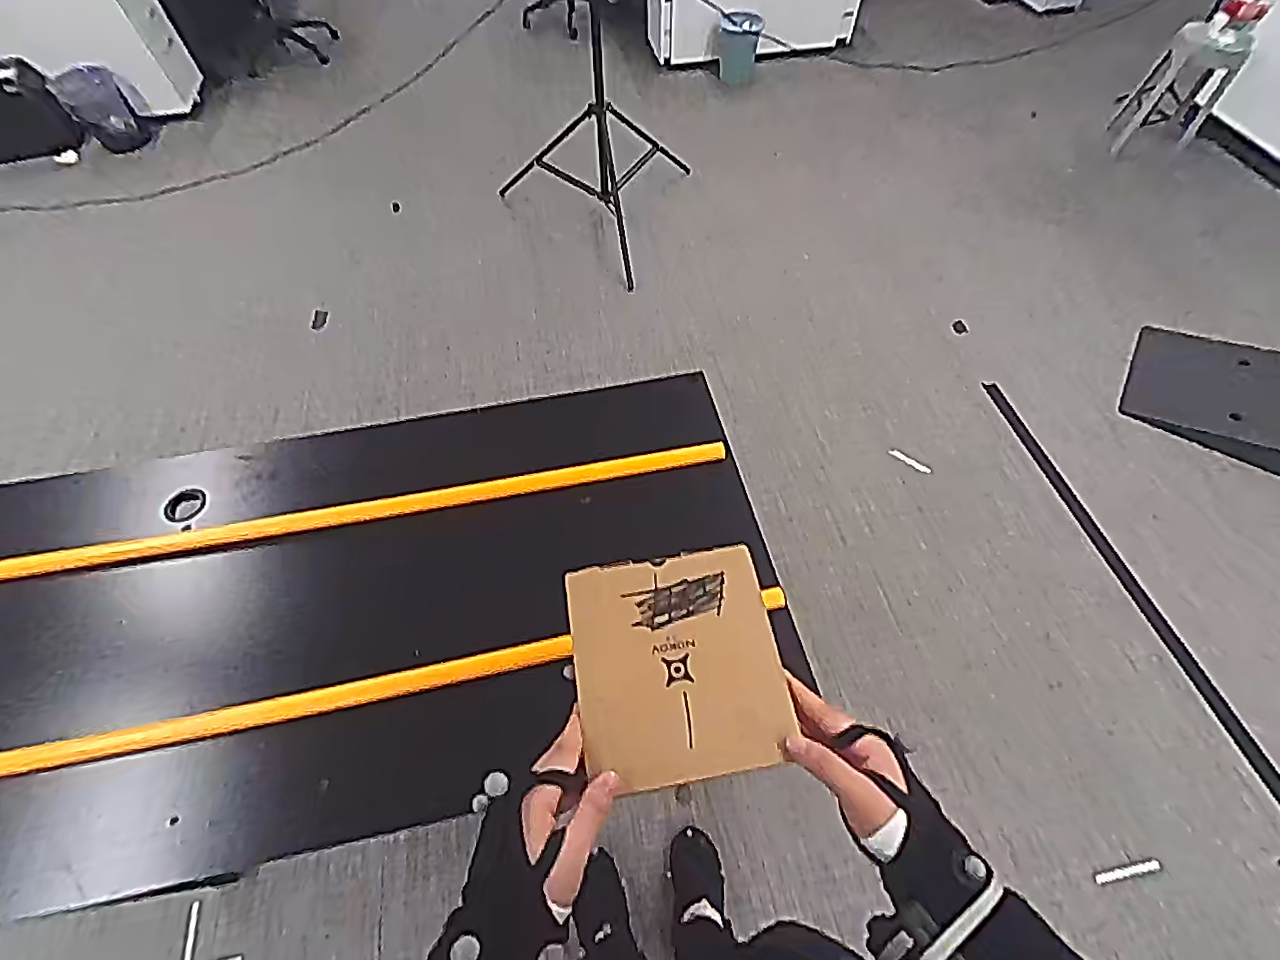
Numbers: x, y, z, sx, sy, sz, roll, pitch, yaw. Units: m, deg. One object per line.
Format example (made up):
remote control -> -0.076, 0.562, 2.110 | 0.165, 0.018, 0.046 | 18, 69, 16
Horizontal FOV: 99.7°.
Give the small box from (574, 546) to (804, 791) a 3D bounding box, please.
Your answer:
small box -> 0.031, 0.183, 0.511 | 0.168, 0.176, 0.179 | -8, 60, -4
